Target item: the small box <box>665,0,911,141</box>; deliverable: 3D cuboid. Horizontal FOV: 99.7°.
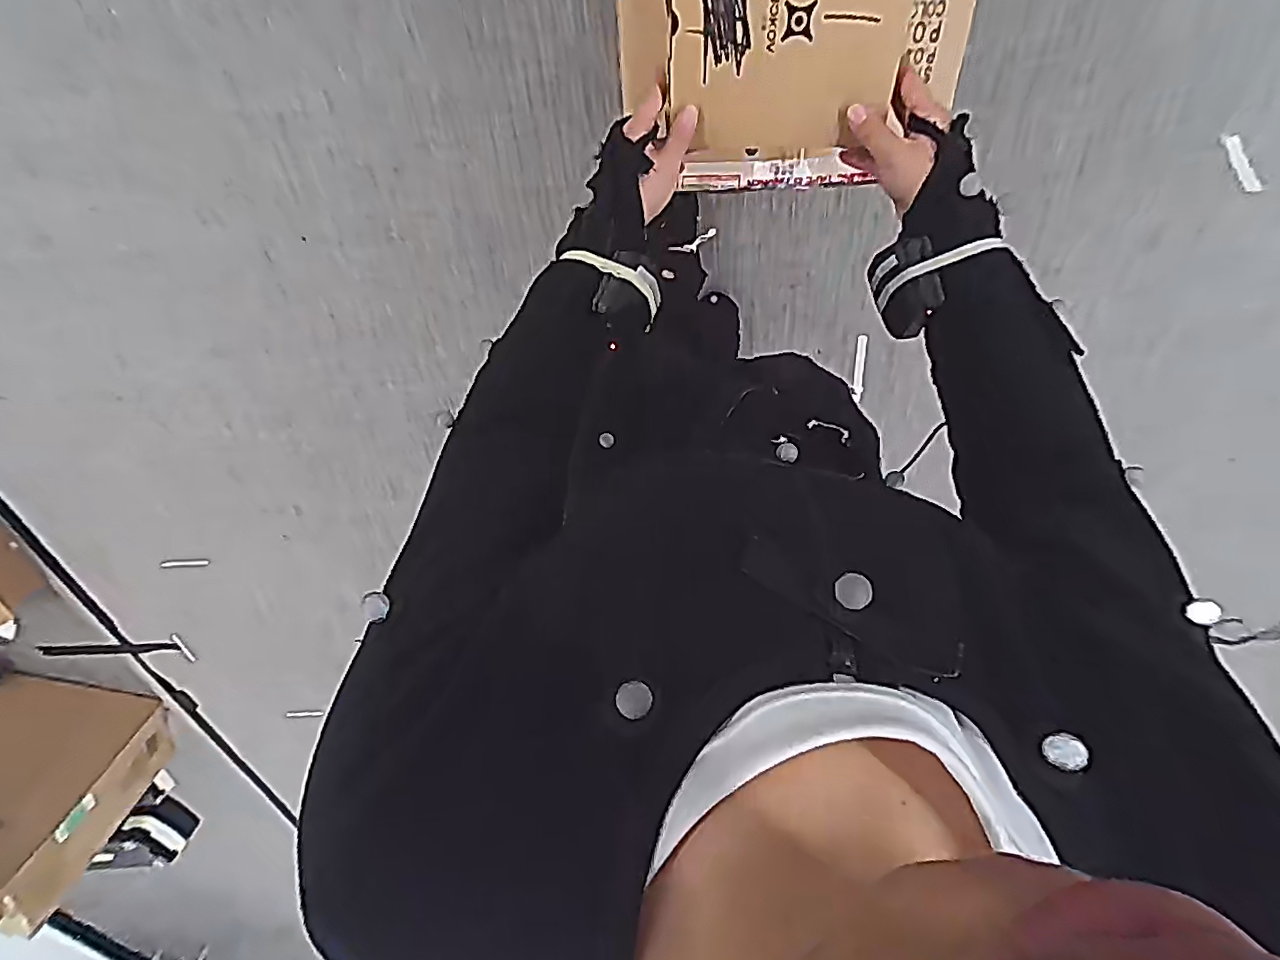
[{"bbox_3d":[0.113,-0.395,0.451,0.179,0.176,0.168,2,134,4],"label":"small box"}]
